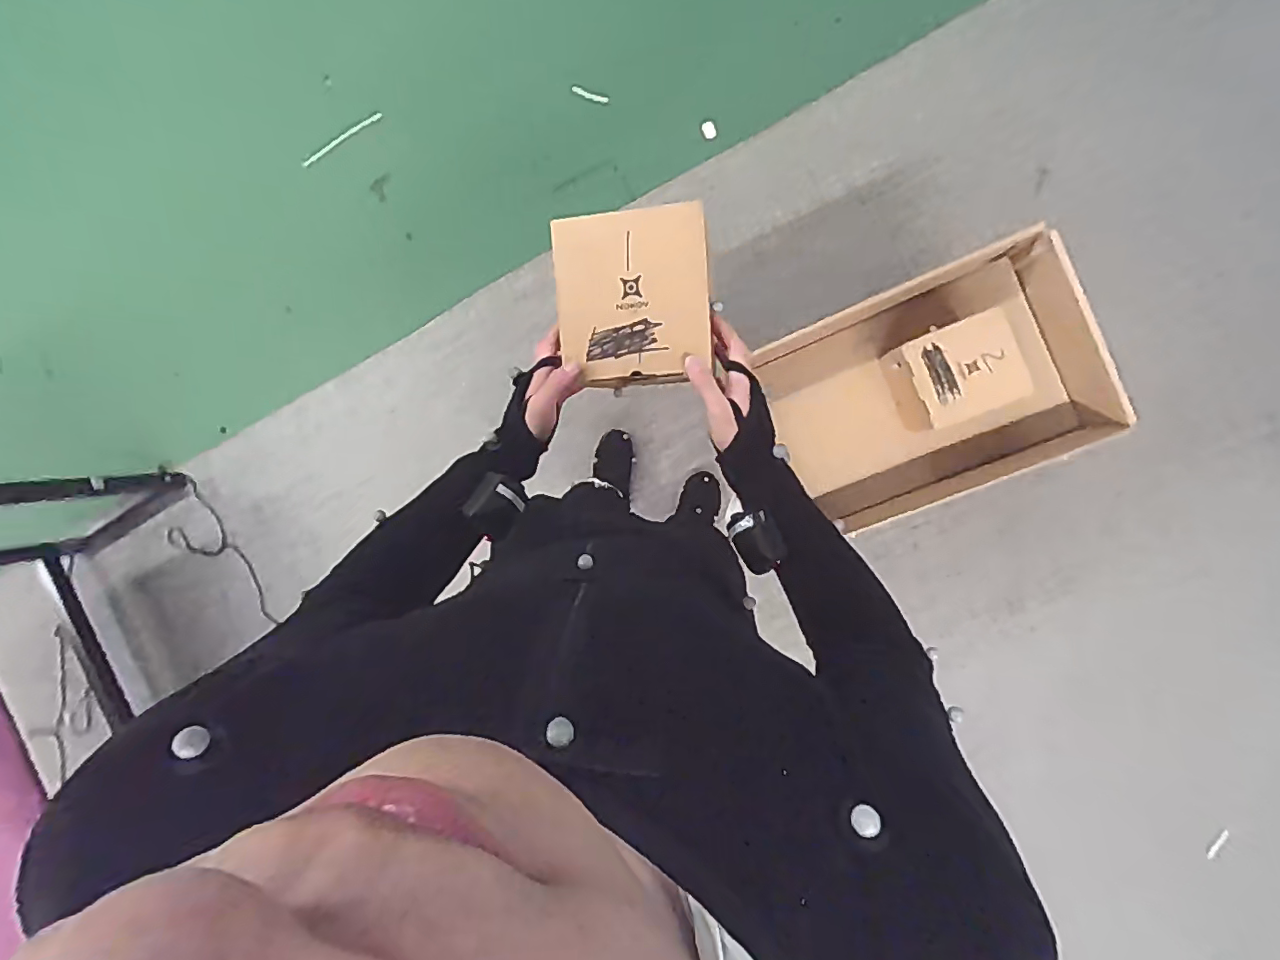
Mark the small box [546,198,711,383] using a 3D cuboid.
[{"bbox_3d":[-0.003,-0.209,0.651,0.168,0.176,0.179,-3,96,9],"label":"small box"}]
